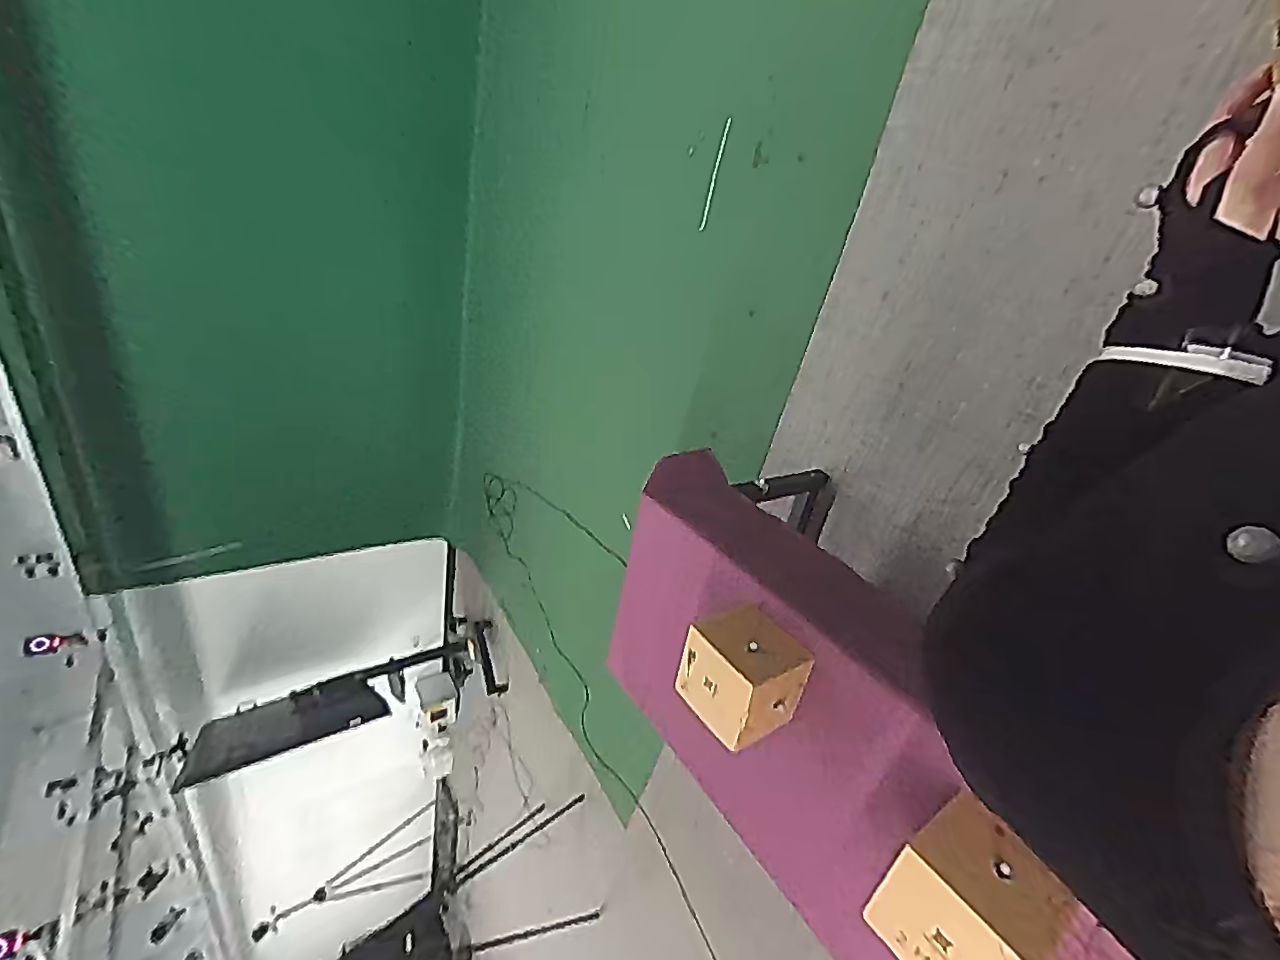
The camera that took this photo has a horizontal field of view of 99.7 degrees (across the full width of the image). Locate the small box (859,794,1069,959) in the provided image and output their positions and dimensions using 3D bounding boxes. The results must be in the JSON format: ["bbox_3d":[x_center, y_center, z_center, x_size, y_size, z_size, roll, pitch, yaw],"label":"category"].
[{"bbox_3d":[0.445,0.580,0.744,0.168,0.176,0.179,39,127,45],"label":"small box"}]

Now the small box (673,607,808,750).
[{"bbox_3d":[0.195,0.372,1.051,0.179,0.176,0.168,37,125,44],"label":"small box"}]
